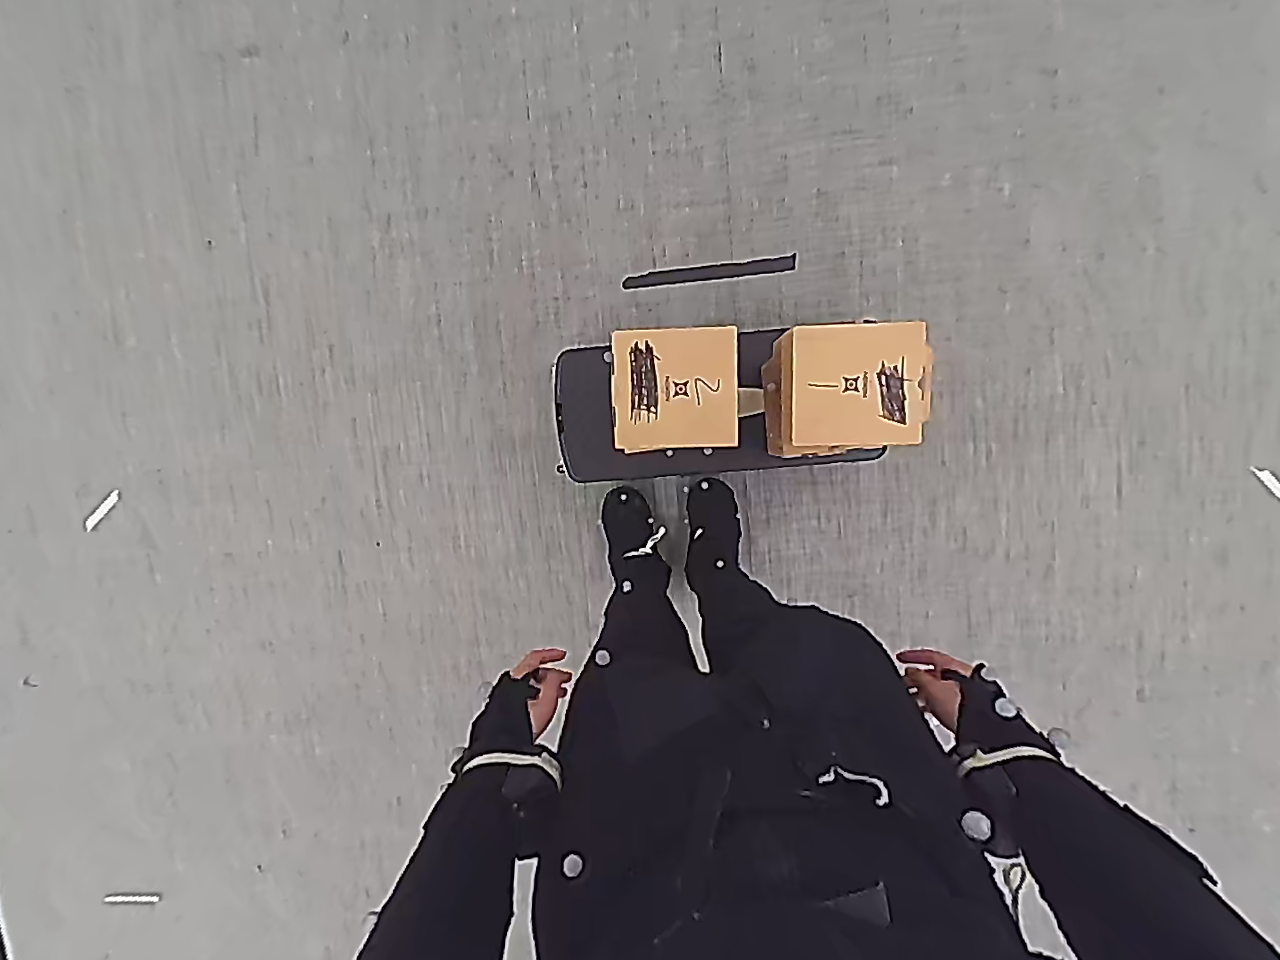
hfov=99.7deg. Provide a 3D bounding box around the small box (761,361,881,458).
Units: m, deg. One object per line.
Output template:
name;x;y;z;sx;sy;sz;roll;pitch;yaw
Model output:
small box;0.318;-0.137;0.976;0.168;0.176;0.179;-6;96;5

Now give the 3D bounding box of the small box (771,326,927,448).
small box;0.301;-0.135;0.812;0.179;0.176;0.168;0;96;5
